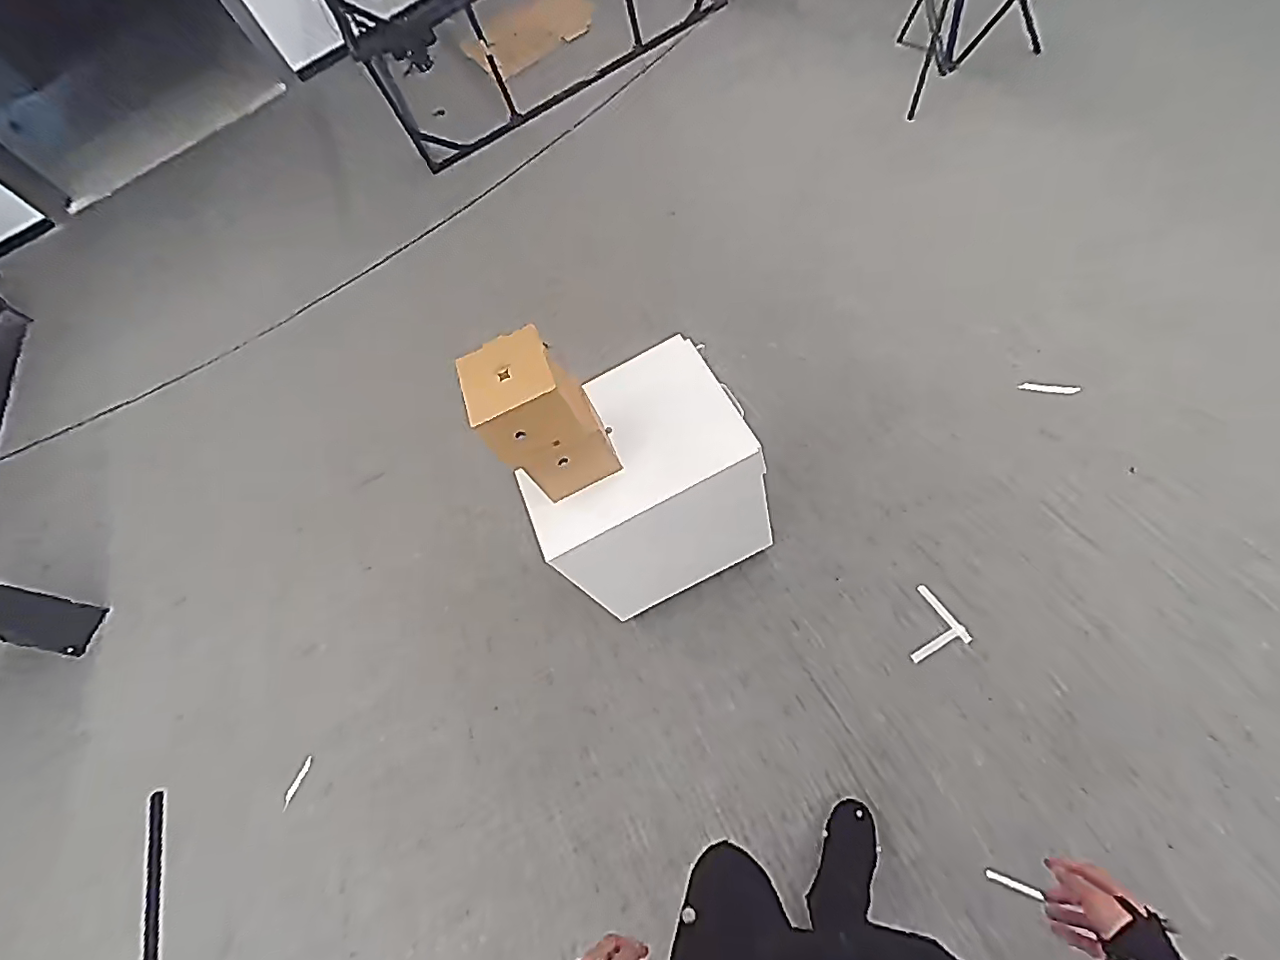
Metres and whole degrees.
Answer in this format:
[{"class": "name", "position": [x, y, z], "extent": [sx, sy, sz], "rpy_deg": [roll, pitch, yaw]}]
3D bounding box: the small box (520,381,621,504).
[{"class": "small box", "position": [-0.163, -0.075, 1.174], "extent": [0.179, 0.176, 0.168], "rpy_deg": [-26, 58, 1]}]

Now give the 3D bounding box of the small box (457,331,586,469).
[{"class": "small box", "position": [-0.221, -0.141, 1.036], "extent": [0.168, 0.176, 0.179], "rpy_deg": [-25, 58, 3]}]
